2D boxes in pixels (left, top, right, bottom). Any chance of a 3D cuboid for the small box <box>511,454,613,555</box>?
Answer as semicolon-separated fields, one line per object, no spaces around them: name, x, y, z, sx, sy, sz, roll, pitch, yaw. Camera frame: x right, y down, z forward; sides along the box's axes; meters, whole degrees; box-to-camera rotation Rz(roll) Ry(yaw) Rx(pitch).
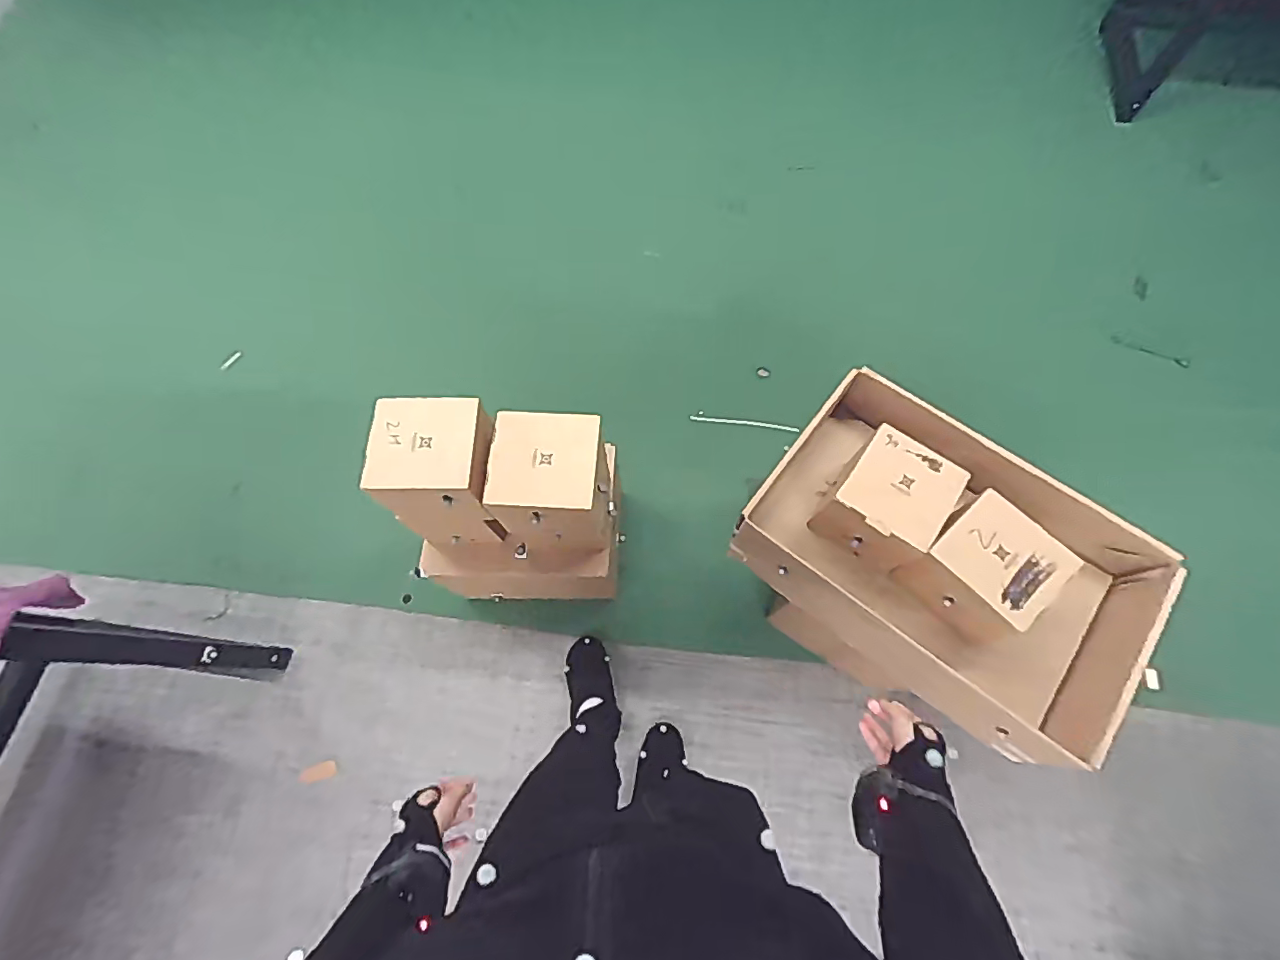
small box;-0.151;0.055;1.103;0.179;0.176;0.168;0;68;1

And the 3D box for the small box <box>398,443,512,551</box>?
small box;-0.369;0.039;1.115;0.168;0.176;0.179;1;68;2
